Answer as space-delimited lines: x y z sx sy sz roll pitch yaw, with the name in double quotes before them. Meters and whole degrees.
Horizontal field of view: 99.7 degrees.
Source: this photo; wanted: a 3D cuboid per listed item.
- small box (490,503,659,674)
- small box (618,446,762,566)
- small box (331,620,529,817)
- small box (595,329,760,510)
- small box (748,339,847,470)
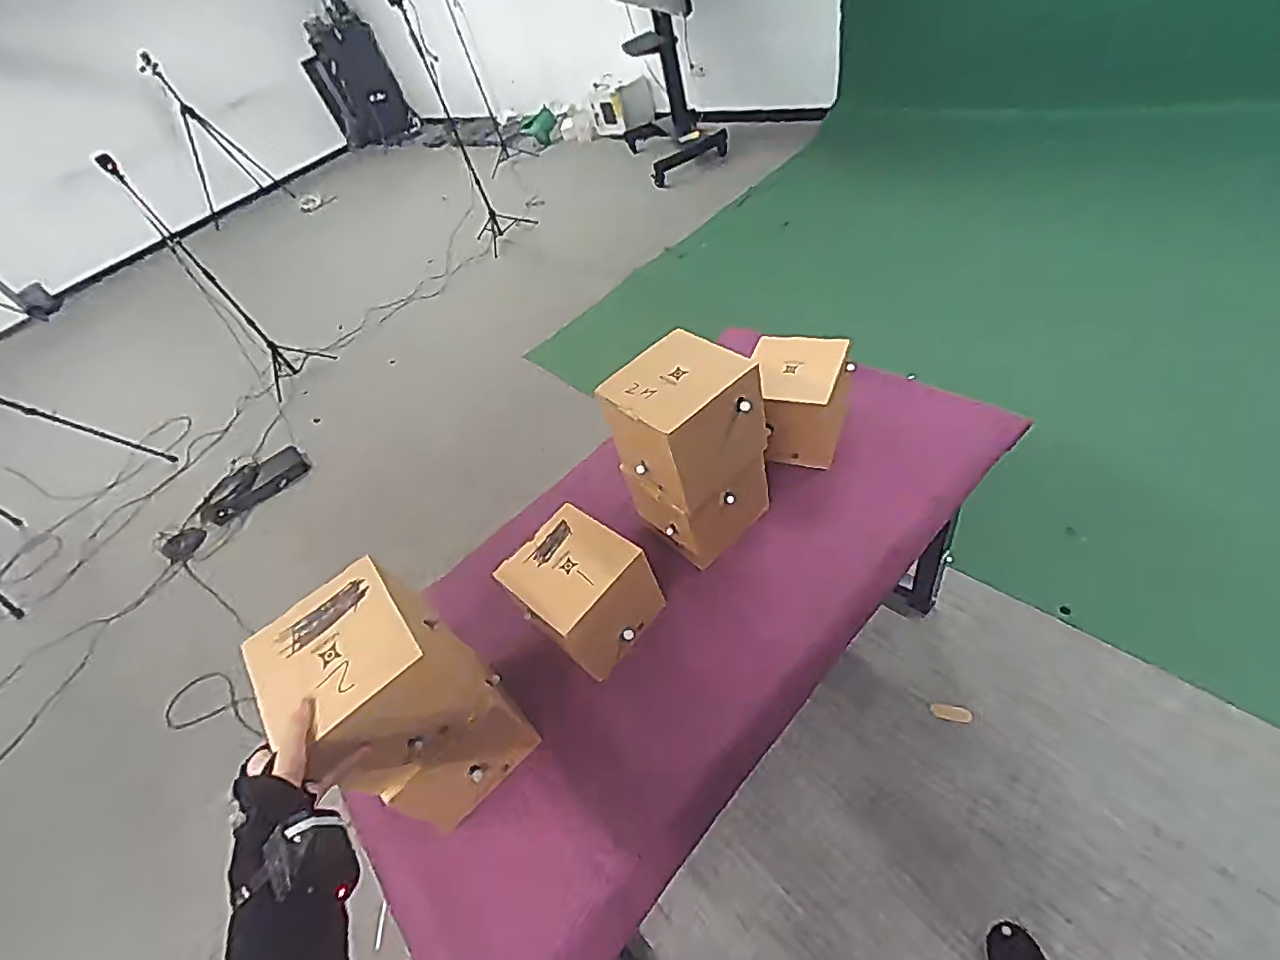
"small box" -0.095 0.173 0.852 0.179 0.176 0.168 28 62 36
"small box" 0.094 0.016 0.933 0.179 0.176 0.168 -38 49 -17
"small box" -0.286 0.340 0.762 0.168 0.176 0.179 -40 50 -19
"small box" 0.064 -0.091 0.812 0.179 0.176 0.168 -38 48 -17
"small box" 0.284 -0.141 1.013 0.168 0.176 0.179 11 54 28
